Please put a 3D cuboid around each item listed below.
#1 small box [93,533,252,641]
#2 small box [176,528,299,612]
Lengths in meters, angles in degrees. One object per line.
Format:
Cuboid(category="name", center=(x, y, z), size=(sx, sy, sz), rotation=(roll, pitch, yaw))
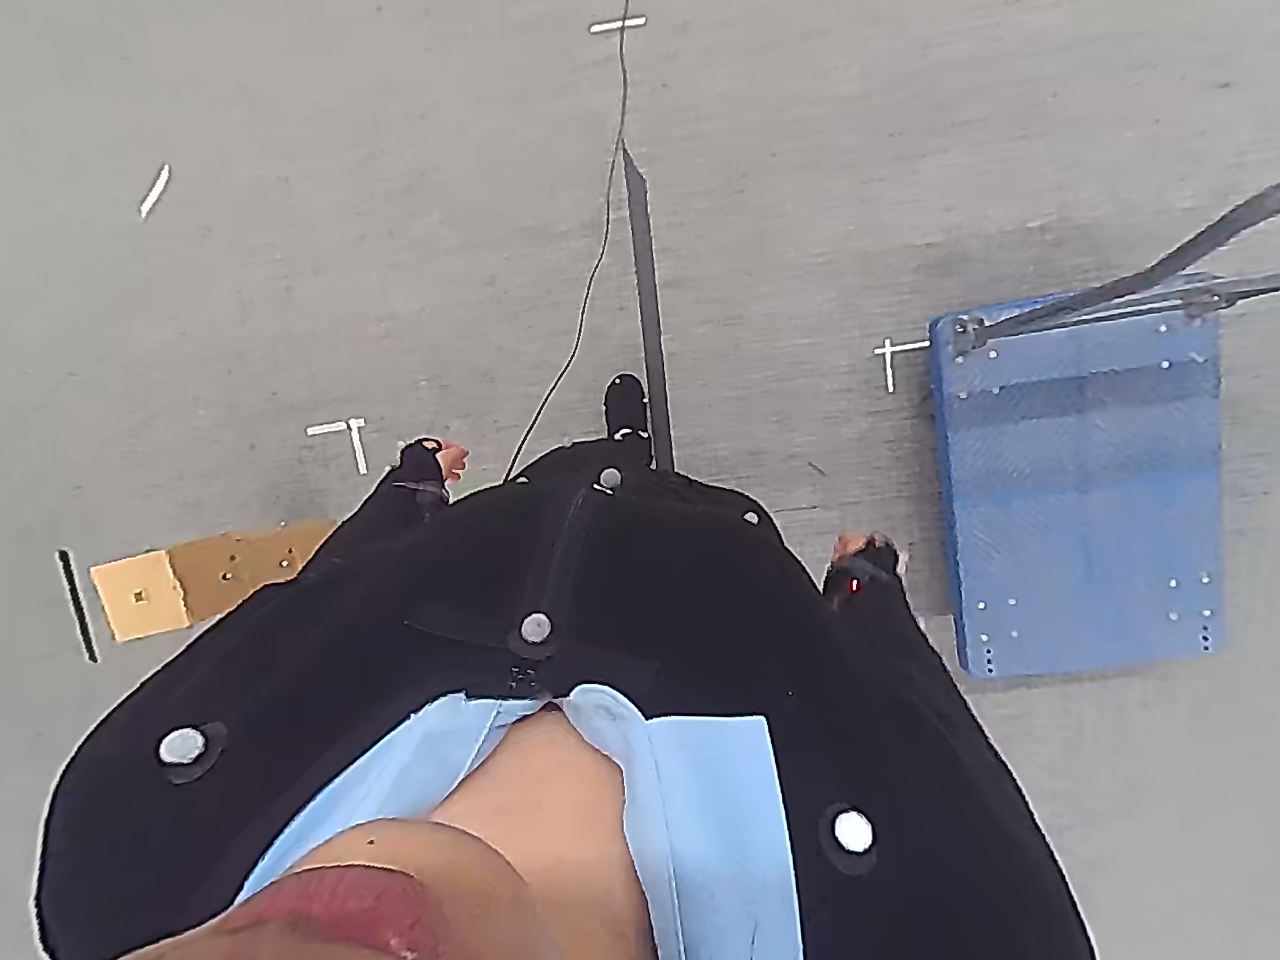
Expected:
Cuboid(category="small box", center=(-1.000, 0.225, 1.171), size=(0.179, 0.176, 0.168), rotation=(-14, 96, 5))
Cuboid(category="small box", center=(-0.986, 0.217, 1.333), size=(0.179, 0.176, 0.168), rotation=(-2, 98, 4))
